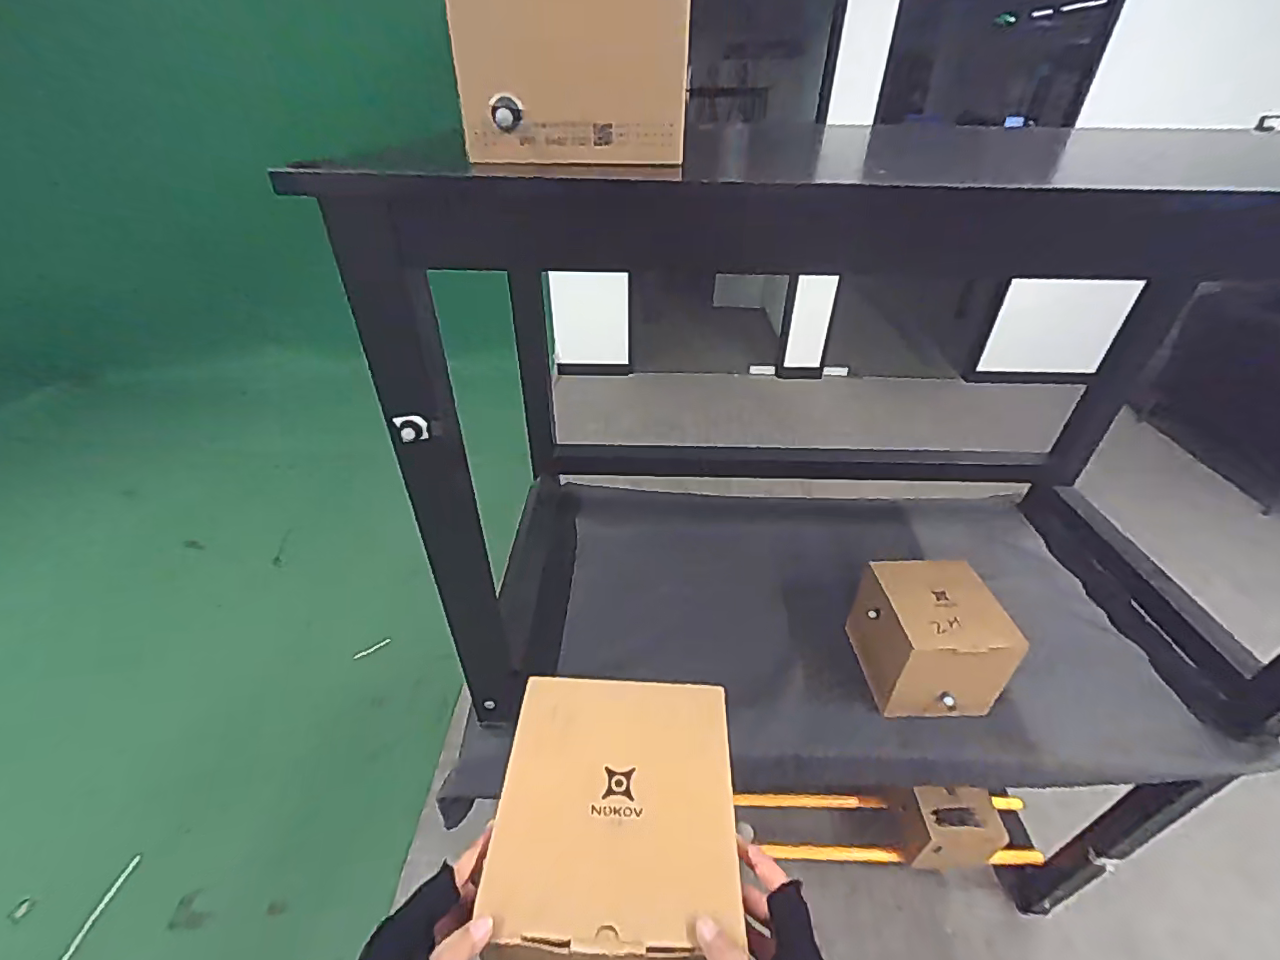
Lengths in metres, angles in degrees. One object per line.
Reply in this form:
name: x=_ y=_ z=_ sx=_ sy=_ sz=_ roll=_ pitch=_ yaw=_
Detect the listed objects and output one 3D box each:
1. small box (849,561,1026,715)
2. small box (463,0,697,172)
small box: x=0.456 y=0.249 z=0.865 sx=0.168 sy=0.176 sz=0.179 roll=-1 pitch=35 yaw=-1
small box: x=-0.044 y=-0.359 z=0.448 sx=0.168 sy=0.176 sz=0.179 roll=-1 pitch=35 yaw=-4
